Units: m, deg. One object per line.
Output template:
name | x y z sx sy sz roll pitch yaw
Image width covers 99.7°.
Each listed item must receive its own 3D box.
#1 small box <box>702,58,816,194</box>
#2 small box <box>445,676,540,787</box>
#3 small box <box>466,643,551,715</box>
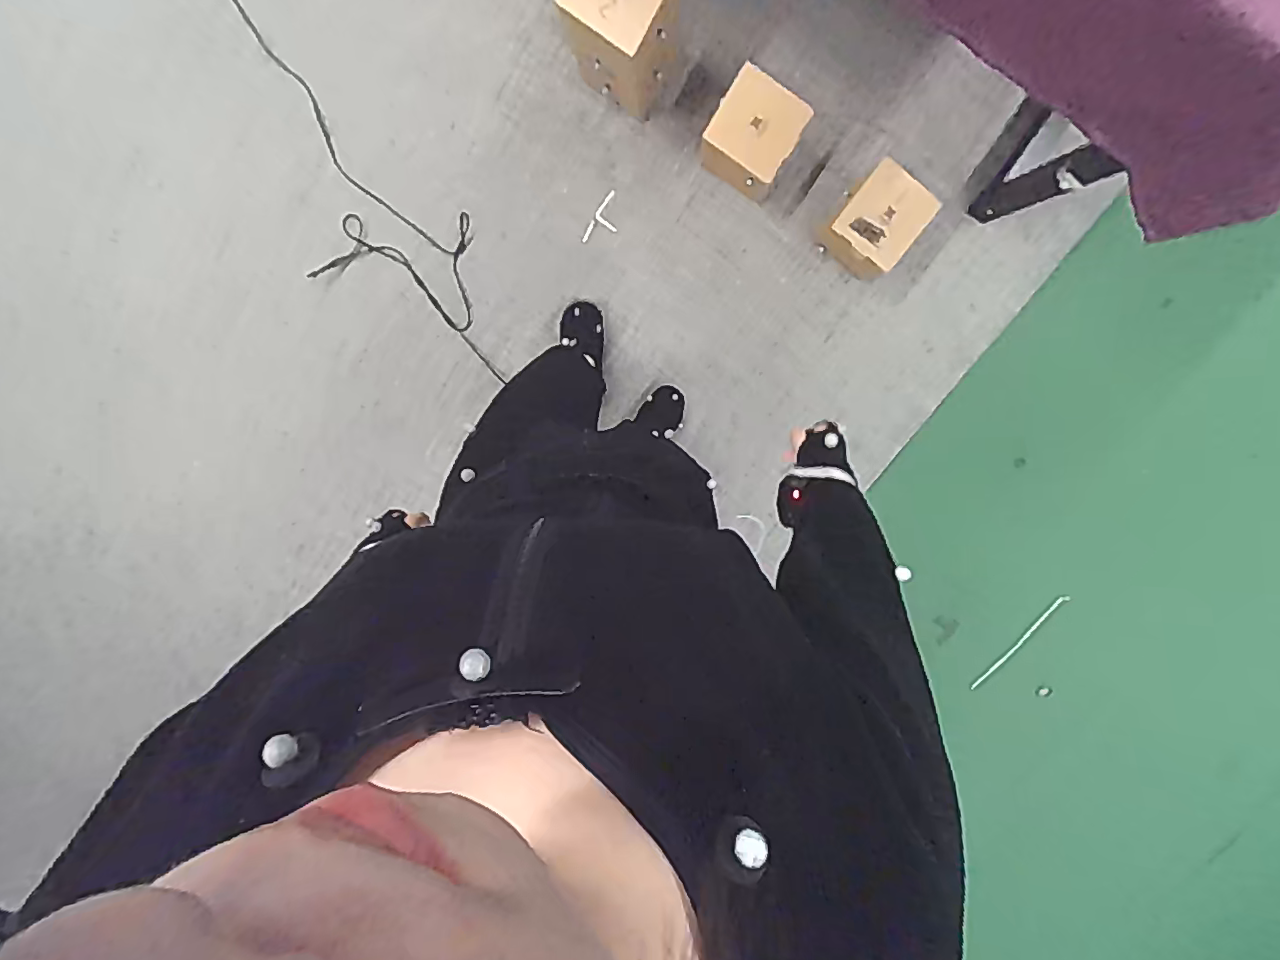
small box | 0.252 -0.771 1.203 0.179 0.176 0.168 32 105 -6
small box | -0.386 0.665 1.449 0.168 0.176 0.179 32 104 -5
small box | -0.381 0.623 1.608 0.168 0.176 0.179 33 105 -6
